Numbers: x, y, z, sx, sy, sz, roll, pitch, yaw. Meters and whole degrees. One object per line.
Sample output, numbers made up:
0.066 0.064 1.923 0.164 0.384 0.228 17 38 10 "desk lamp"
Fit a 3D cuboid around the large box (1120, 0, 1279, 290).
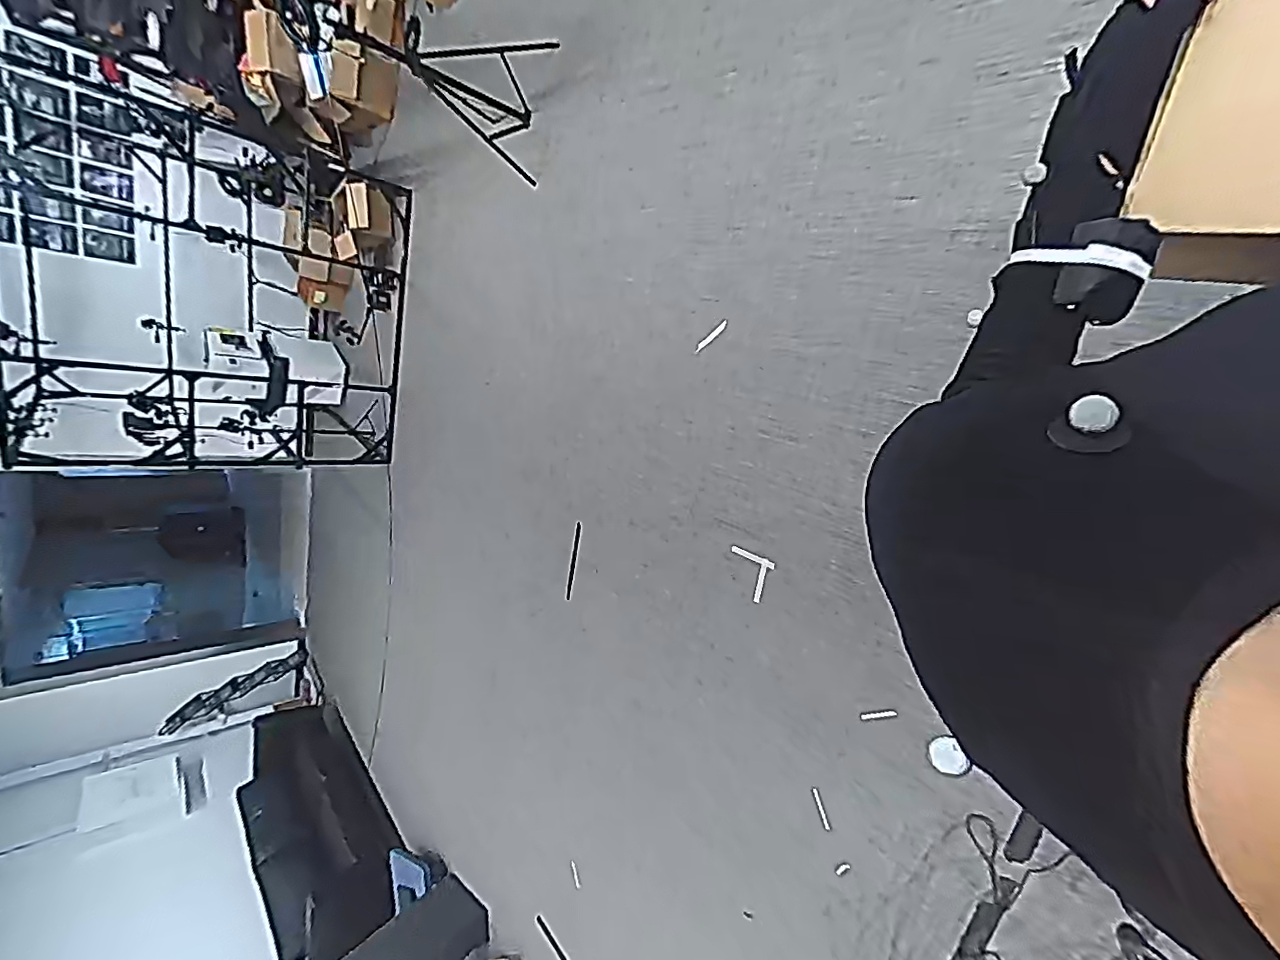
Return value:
0.626 -0.295 0.349 0.408 0.320 0.320 23 115 40 "large box"
